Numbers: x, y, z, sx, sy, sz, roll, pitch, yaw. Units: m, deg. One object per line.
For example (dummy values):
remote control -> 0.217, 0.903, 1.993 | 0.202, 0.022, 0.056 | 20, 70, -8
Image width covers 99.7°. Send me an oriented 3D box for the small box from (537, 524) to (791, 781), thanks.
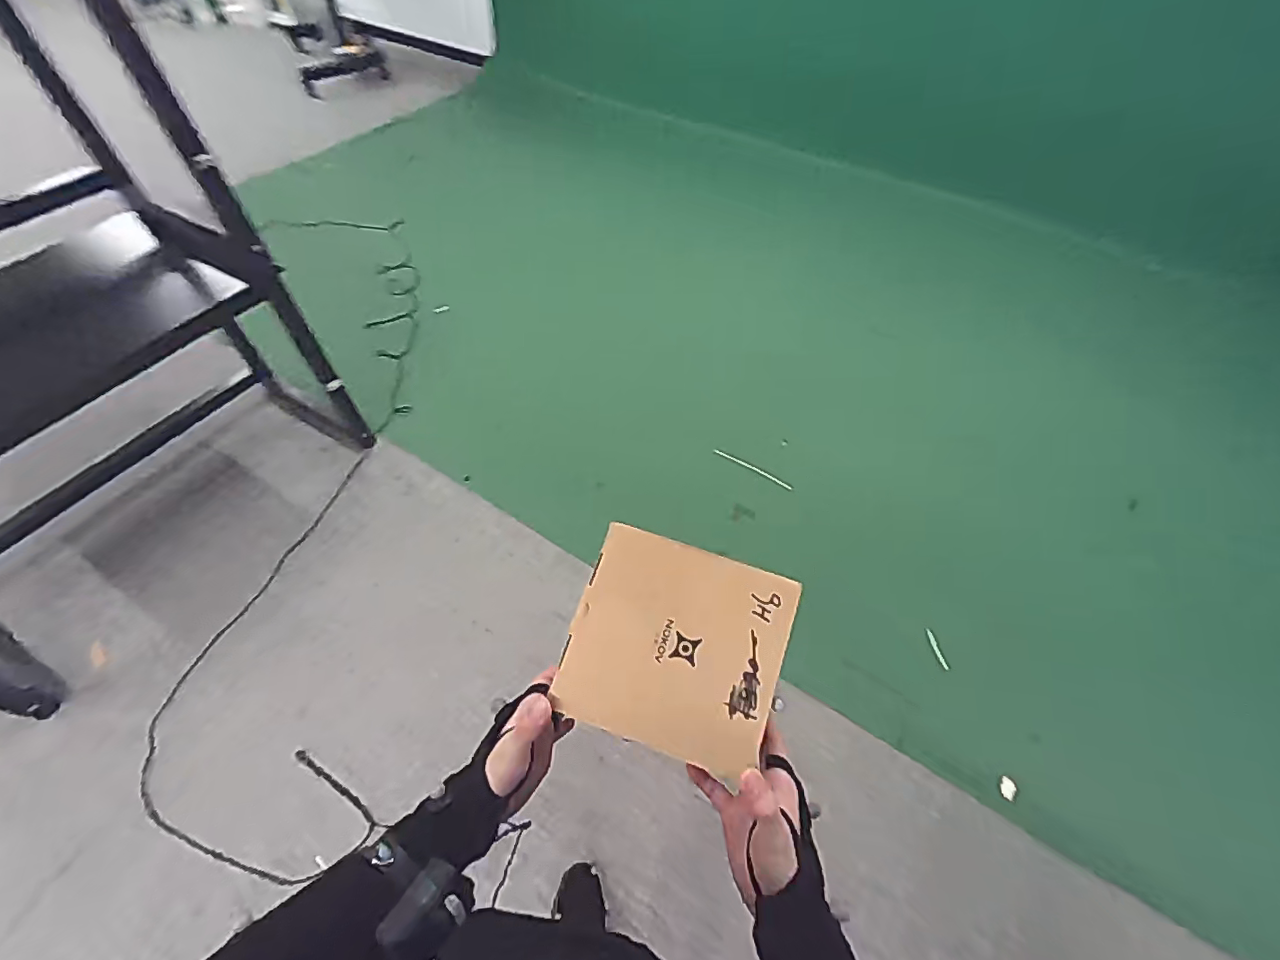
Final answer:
small box -> 0.027, 0.161, 0.528 | 0.179, 0.176, 0.168 | 17, 75, 9
